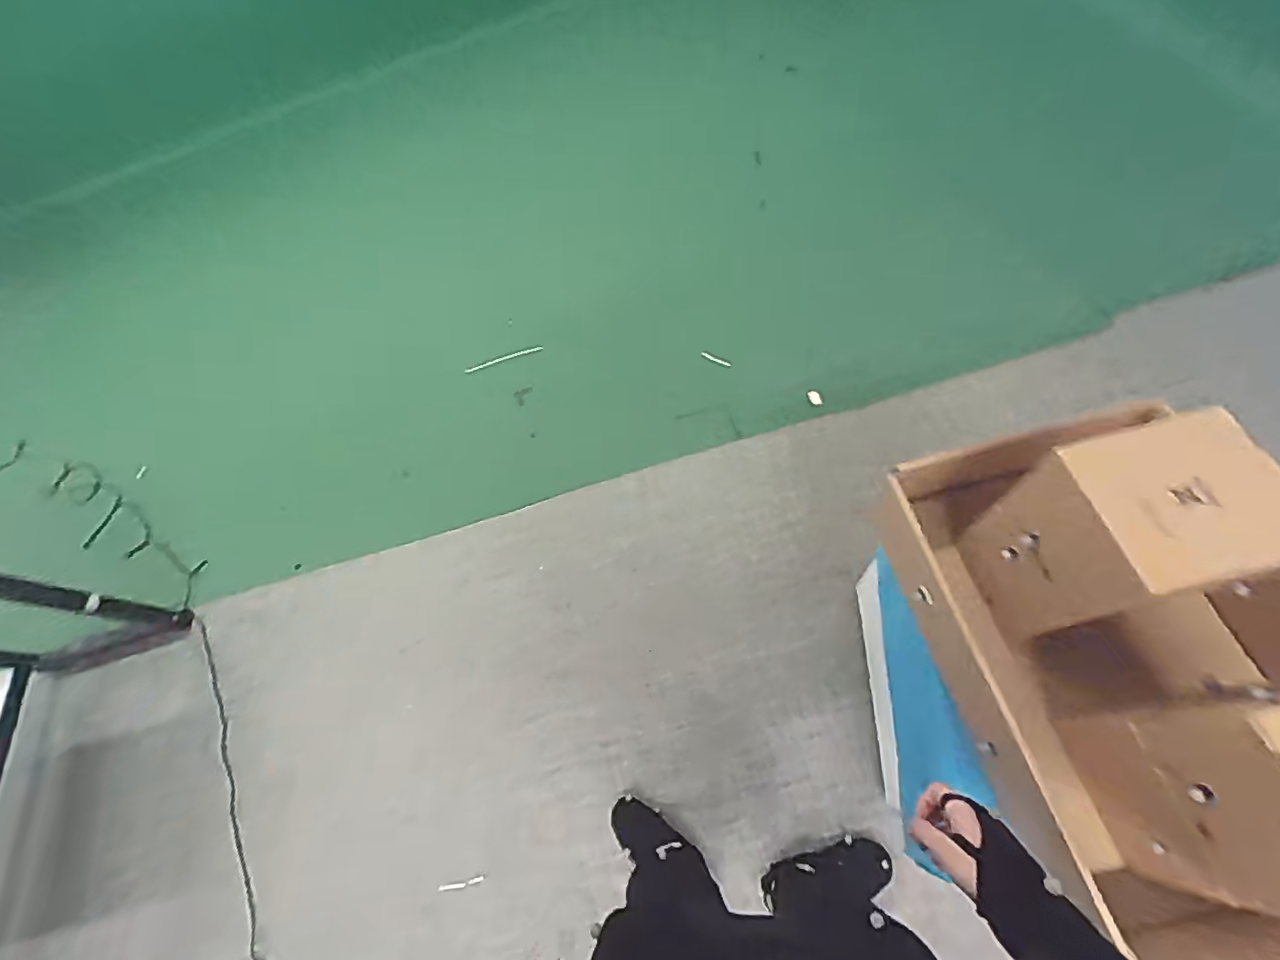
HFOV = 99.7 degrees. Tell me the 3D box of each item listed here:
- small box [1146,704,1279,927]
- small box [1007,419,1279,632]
[{"bbox_3d":[0.627,0.291,0.477,0.179,0.176,0.168,-14,63,5],"label":"small box"},{"bbox_3d":[0.565,0.060,0.605,0.179,0.176,0.168,-15,62,5],"label":"small box"}]
